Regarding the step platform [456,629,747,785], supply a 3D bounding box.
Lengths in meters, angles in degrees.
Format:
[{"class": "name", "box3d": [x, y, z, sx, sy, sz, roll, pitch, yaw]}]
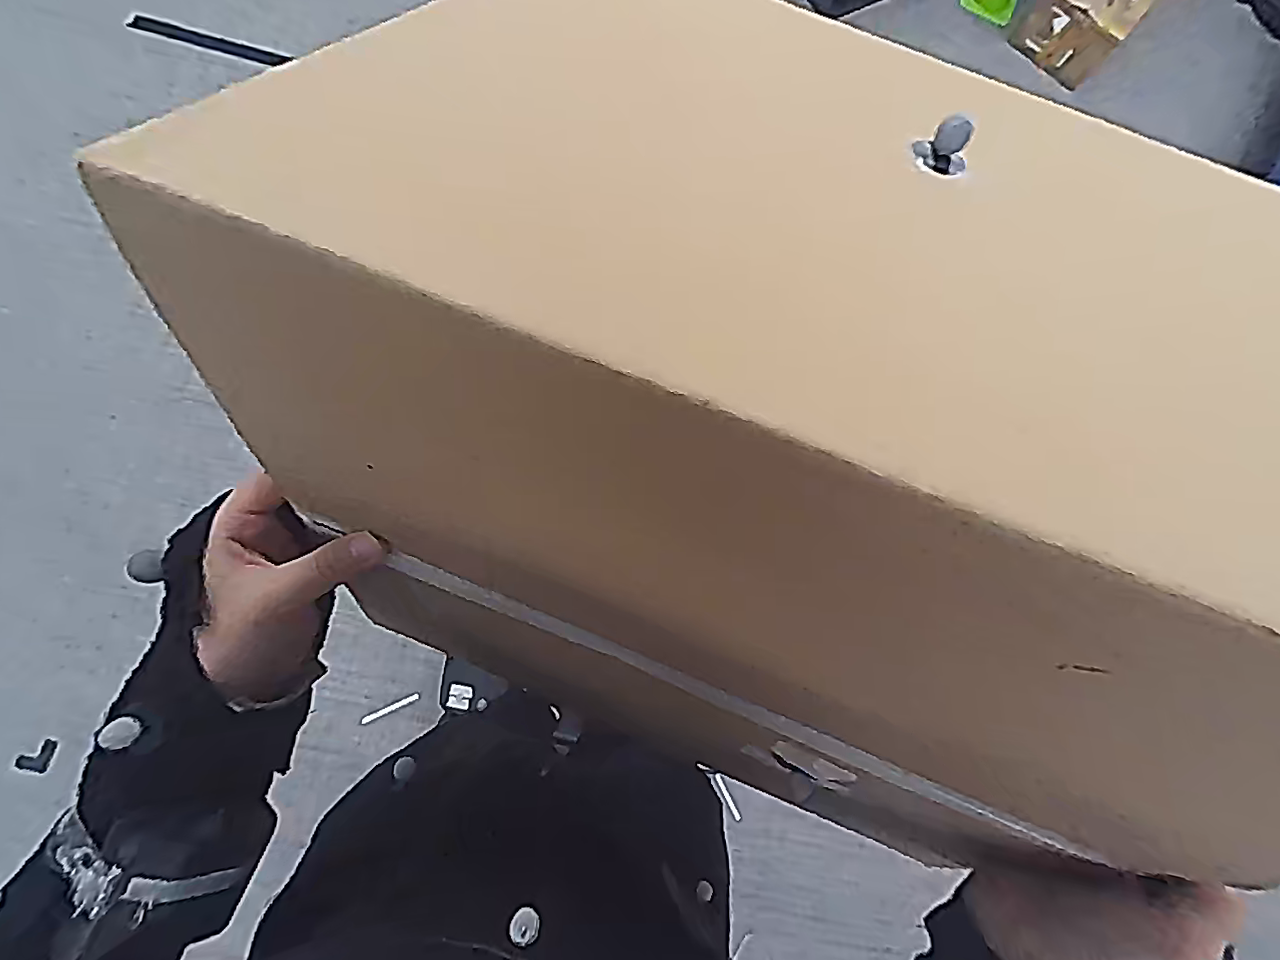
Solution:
[{"class": "step platform", "box3d": [-0.071, 0.457, 1.274, 0.684, 0.204, 0.286, 20, 77, -3]}]
